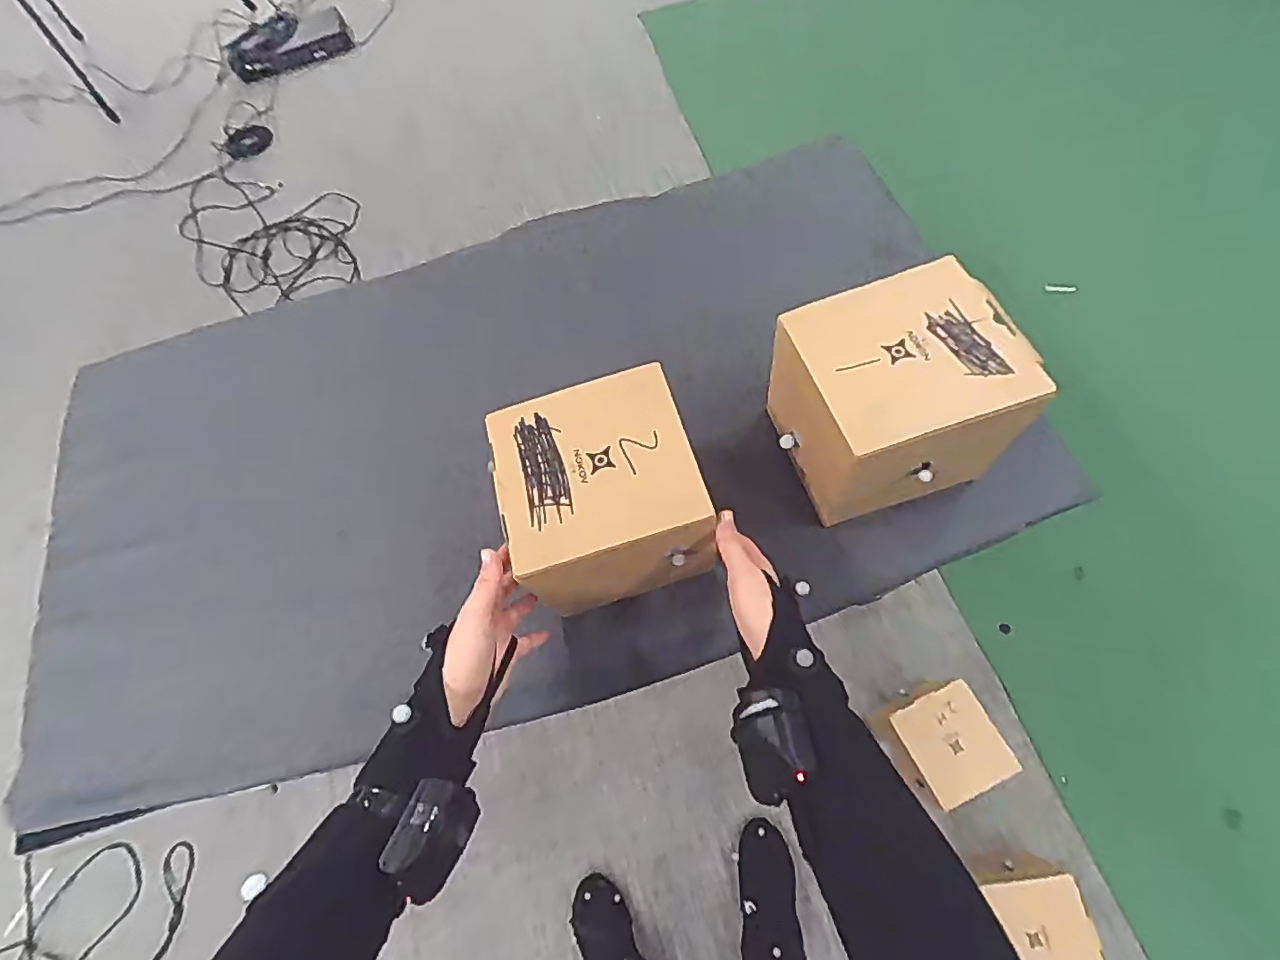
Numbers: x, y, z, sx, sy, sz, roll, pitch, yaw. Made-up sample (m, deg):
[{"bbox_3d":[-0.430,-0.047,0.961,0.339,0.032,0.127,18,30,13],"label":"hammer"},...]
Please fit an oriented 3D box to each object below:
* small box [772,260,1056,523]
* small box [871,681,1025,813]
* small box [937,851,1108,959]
[{"bbox_3d":[0.245,-0.077,0.541,0.179,0.176,0.168,-18,63,2],"label":"small box"},{"bbox_3d":[0.588,0.510,1.058,0.168,0.176,0.179,-26,68,-3],"label":"small box"},{"bbox_3d":[0.661,0.774,0.945,0.179,0.176,0.168,-10,69,4],"label":"small box"}]
